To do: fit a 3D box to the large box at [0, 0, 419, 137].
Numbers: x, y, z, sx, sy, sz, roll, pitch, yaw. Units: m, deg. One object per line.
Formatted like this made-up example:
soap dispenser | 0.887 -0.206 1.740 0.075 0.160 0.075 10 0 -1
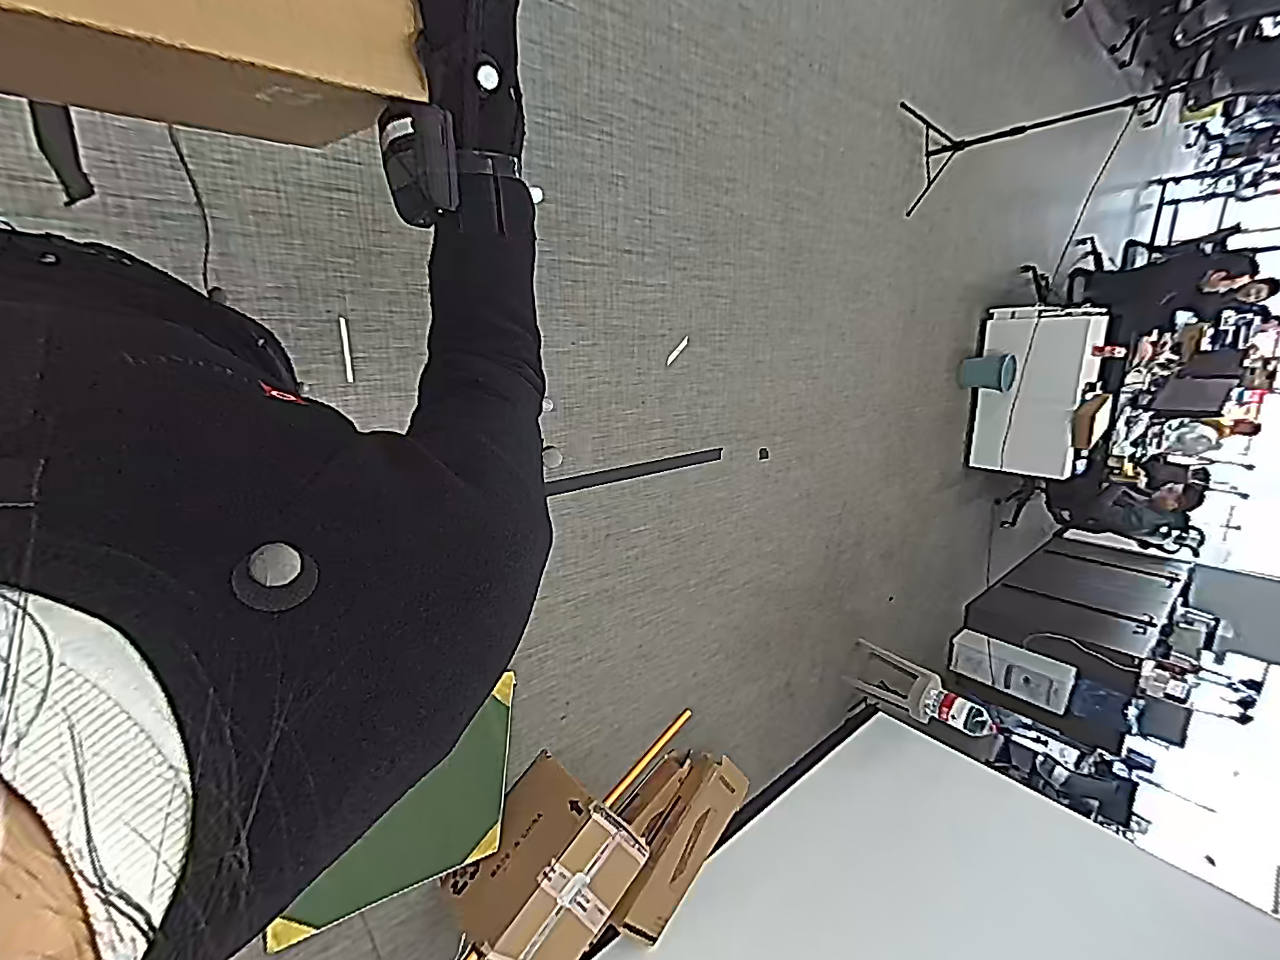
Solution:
large box | -0.384 -0.403 0.279 0.408 0.320 0.320 -15 120 -39
